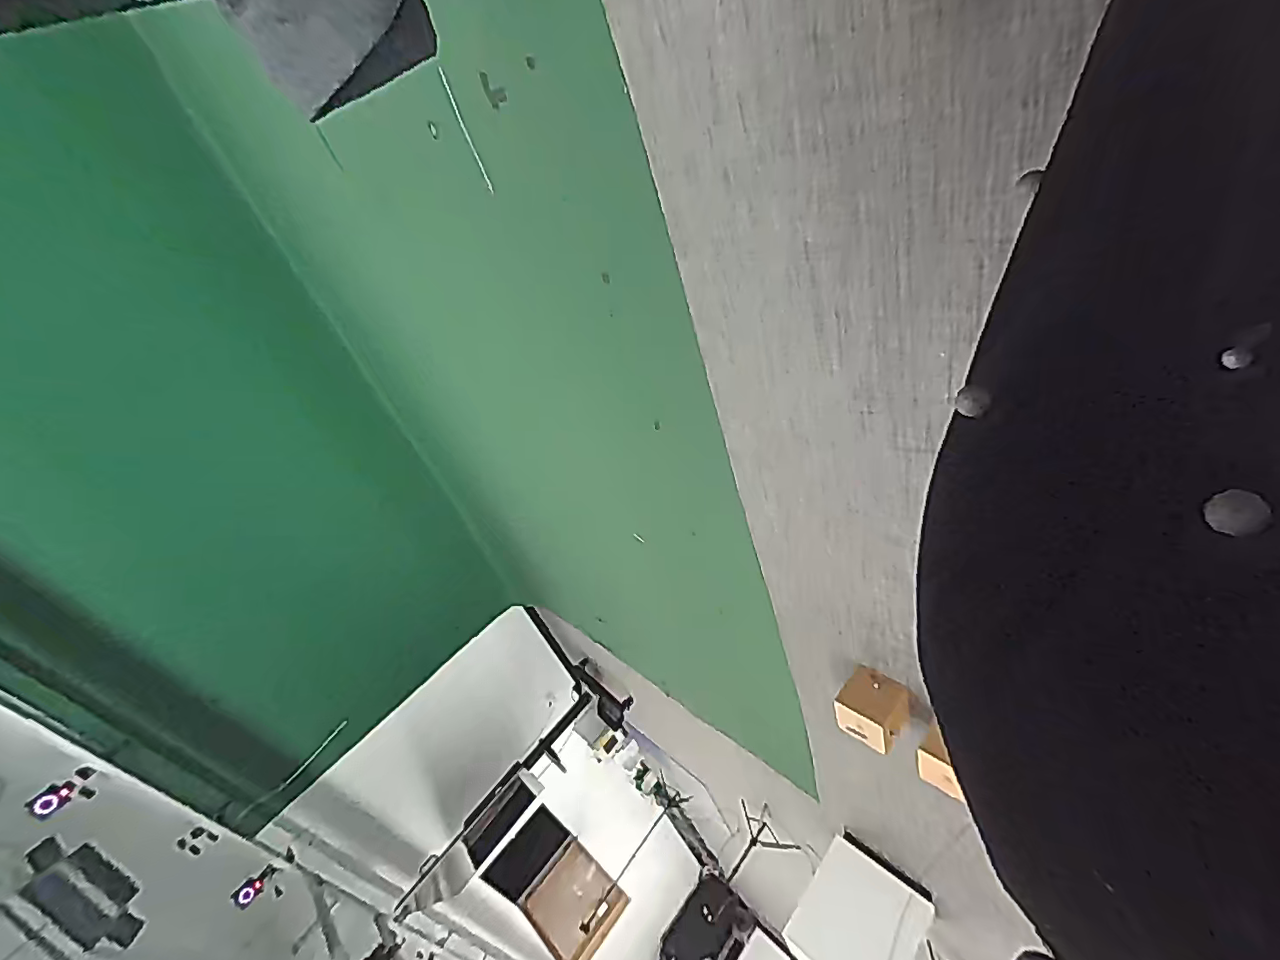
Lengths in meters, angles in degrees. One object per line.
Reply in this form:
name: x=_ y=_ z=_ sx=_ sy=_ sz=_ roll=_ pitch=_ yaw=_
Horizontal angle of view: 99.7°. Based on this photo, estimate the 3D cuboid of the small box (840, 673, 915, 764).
small box: x=0.777 y=0.771 z=1.760 sx=0.168 sy=0.176 sz=0.179 roll=19 pitch=139 yaw=45

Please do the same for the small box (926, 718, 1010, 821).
small box: x=0.956 y=0.837 z=1.578 sx=0.168 sy=0.176 sz=0.179 roll=18 pitch=140 yaw=46
